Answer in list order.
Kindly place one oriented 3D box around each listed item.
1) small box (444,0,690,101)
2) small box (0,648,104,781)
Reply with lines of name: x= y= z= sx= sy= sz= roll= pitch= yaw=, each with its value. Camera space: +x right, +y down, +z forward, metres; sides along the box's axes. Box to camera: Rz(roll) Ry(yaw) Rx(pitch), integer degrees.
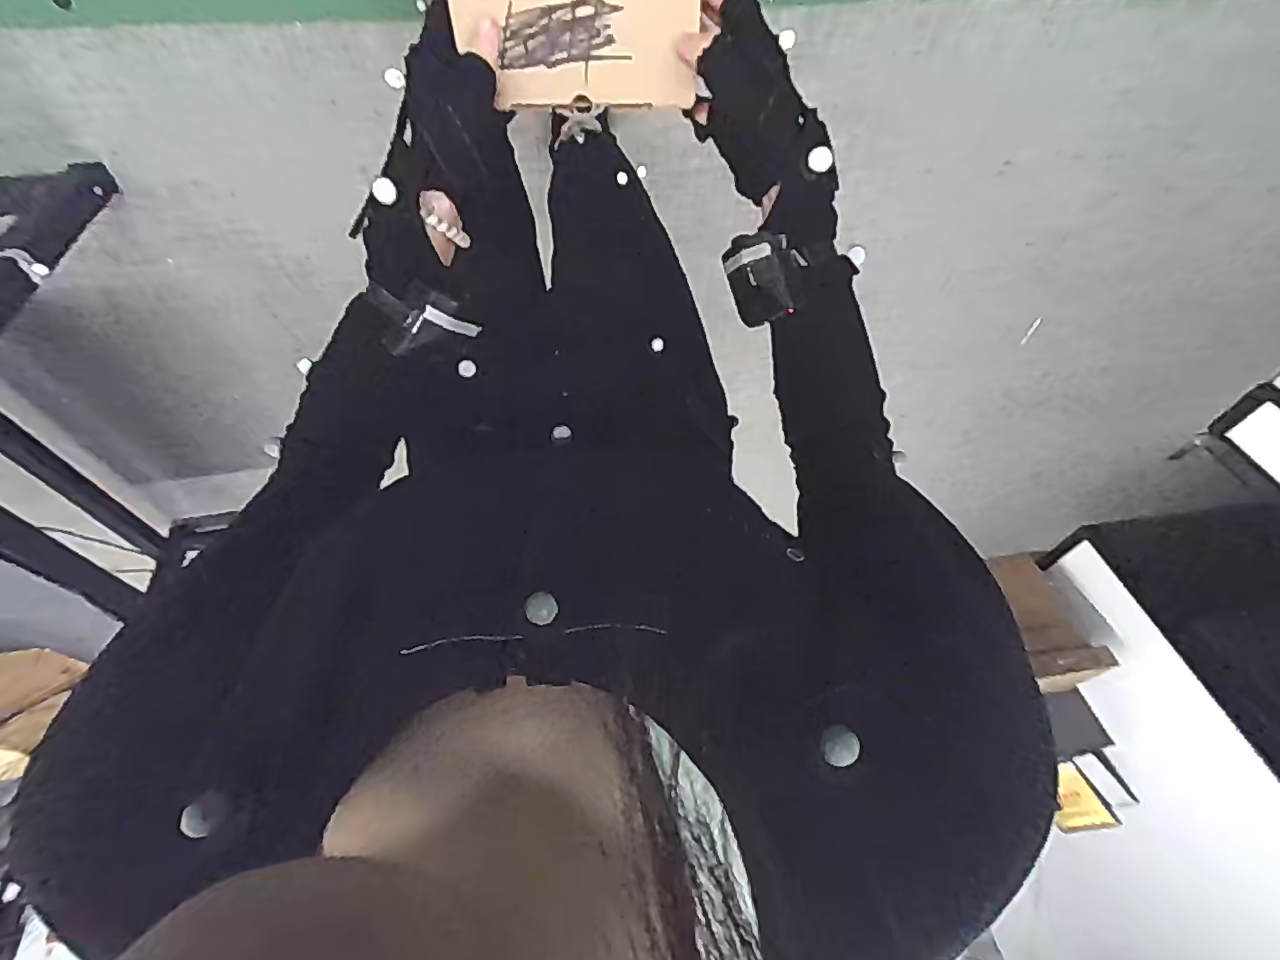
small box: x=-0.045 y=-0.392 z=0.386 sx=0.168 sy=0.176 sz=0.179 roll=0 pitch=134 yaw=0
small box: x=-1.116 y=0.413 z=0.945 sx=0.179 sy=0.176 sz=0.168 roll=-9 pitch=143 yaw=-7
